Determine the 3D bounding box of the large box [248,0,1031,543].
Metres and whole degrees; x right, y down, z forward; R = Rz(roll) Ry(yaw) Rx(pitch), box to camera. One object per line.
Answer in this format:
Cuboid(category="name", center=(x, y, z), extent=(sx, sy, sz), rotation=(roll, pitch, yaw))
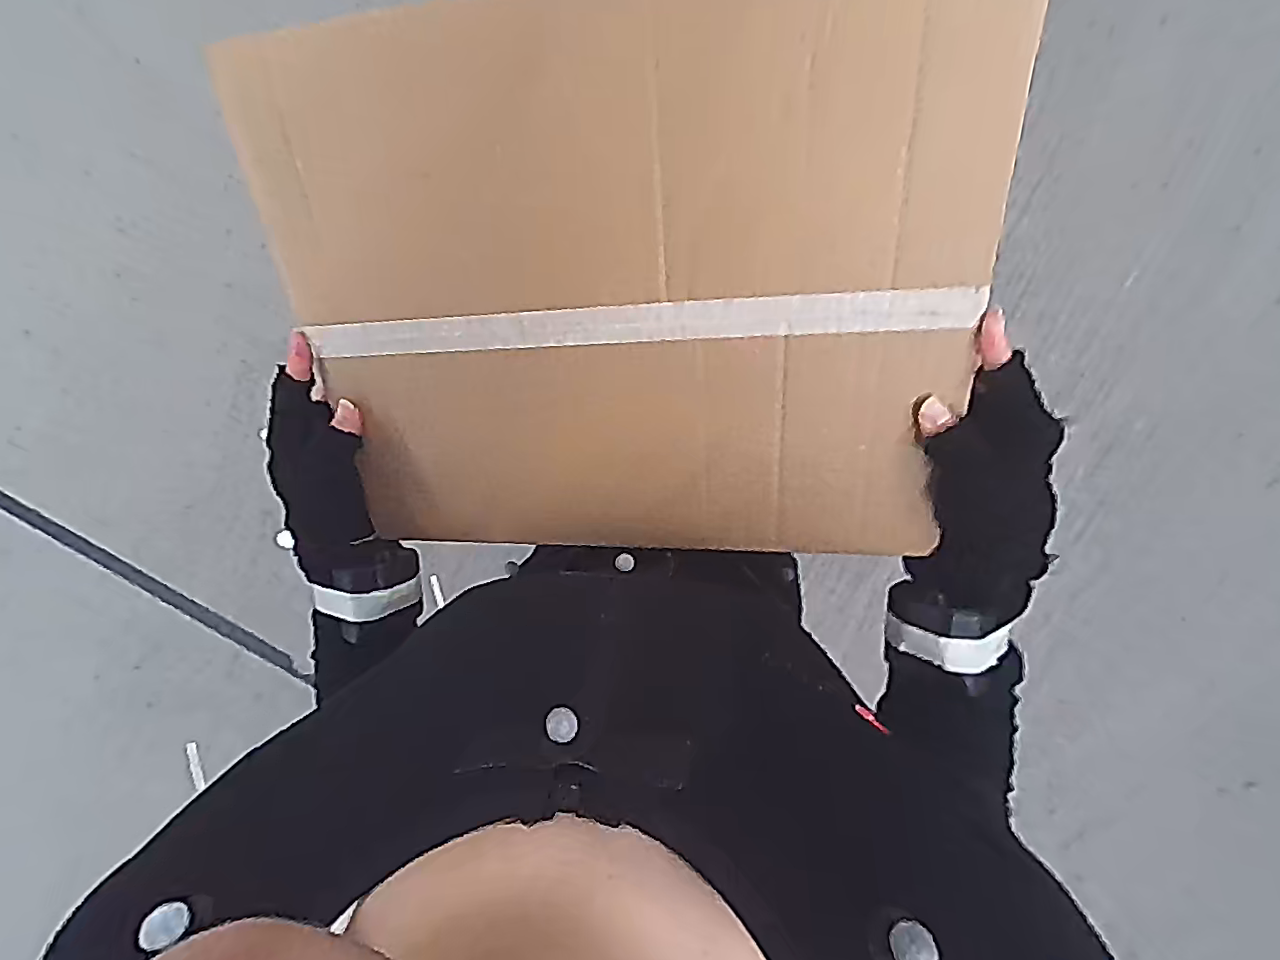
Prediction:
Cuboid(category="large box", center=(0.009, -0.161, 0.458), extent=(0.408, 0.320, 0.320), rotation=(1, 118, 11))
